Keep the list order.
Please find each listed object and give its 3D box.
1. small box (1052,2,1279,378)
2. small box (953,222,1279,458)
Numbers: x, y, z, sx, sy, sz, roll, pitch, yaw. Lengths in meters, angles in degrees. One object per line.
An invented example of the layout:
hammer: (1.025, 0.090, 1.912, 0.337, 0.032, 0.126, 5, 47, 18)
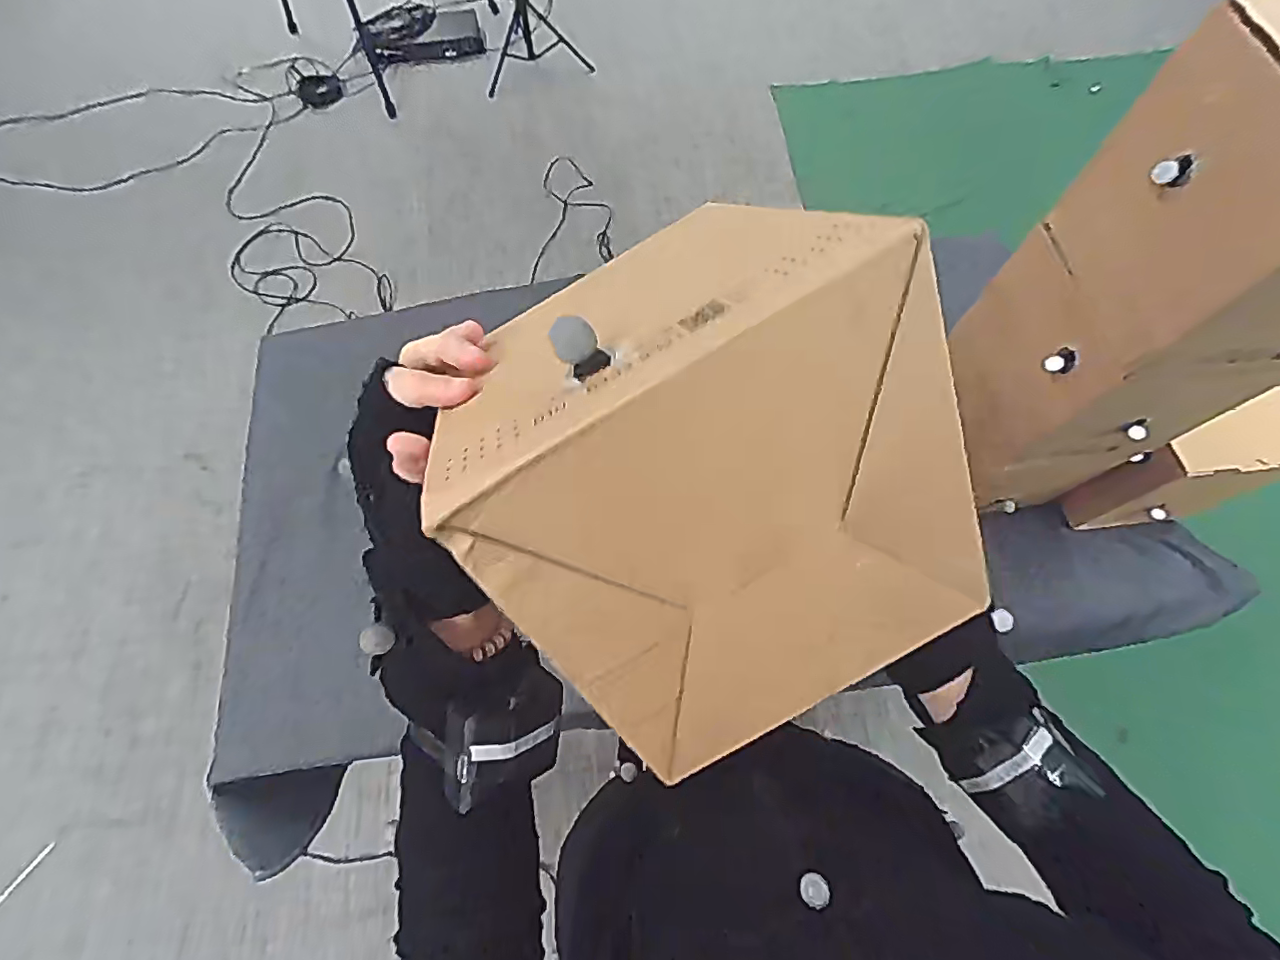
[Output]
small box: (0.446, -0.194, 0.381, 0.168, 0.176, 0.179, -4, 66, 0)
small box: (0.451, -0.130, 0.533, 0.168, 0.176, 0.179, -6, 66, -1)
